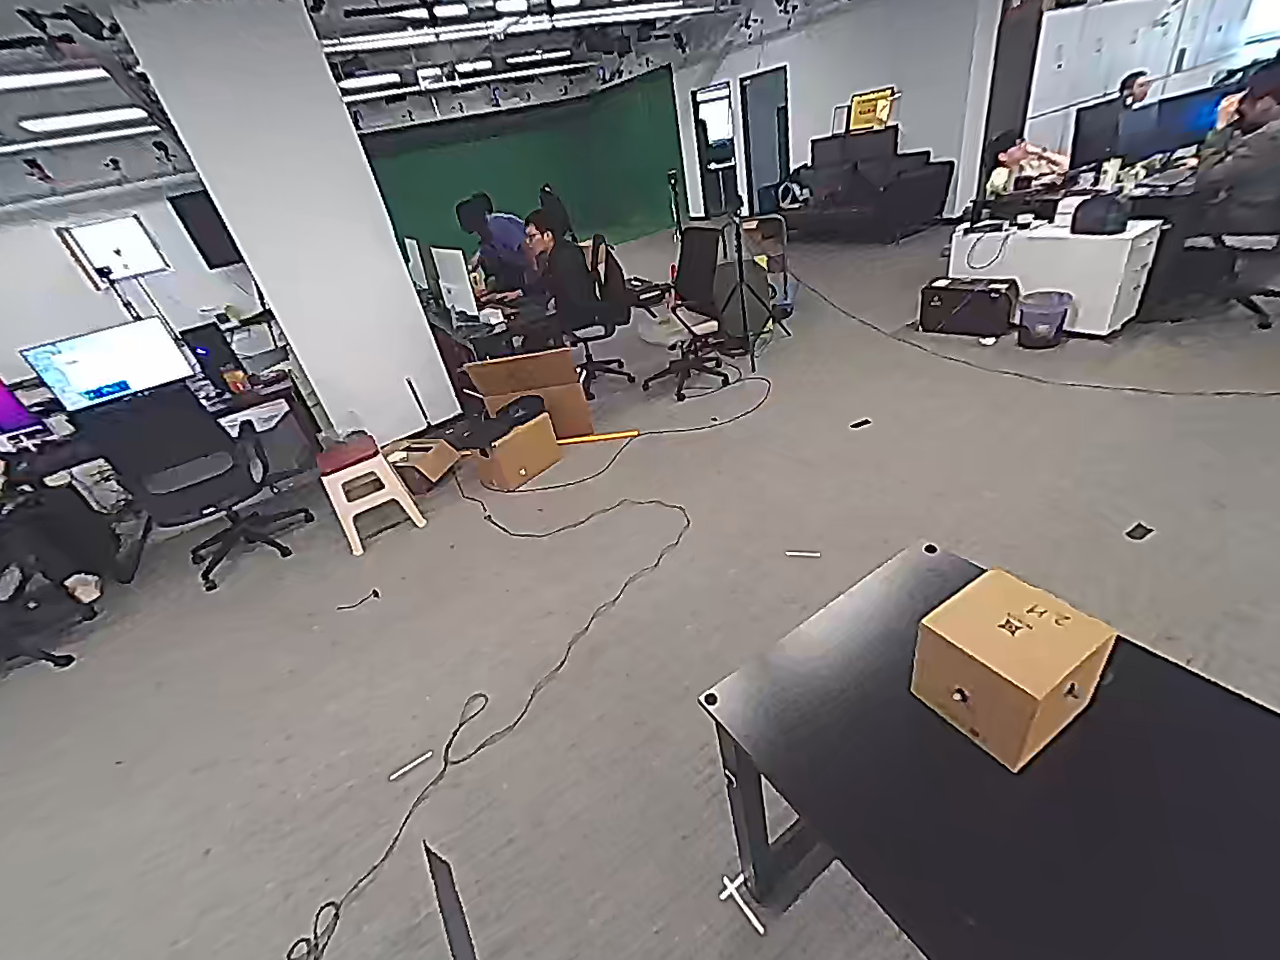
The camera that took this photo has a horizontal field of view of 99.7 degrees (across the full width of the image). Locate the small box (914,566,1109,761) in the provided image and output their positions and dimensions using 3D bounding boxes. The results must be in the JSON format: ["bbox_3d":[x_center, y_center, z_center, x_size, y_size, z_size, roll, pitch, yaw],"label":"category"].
[{"bbox_3d":[0.528,0.265,0.790,0.179,0.176,0.168,-25,34,-20],"label":"small box"}]
